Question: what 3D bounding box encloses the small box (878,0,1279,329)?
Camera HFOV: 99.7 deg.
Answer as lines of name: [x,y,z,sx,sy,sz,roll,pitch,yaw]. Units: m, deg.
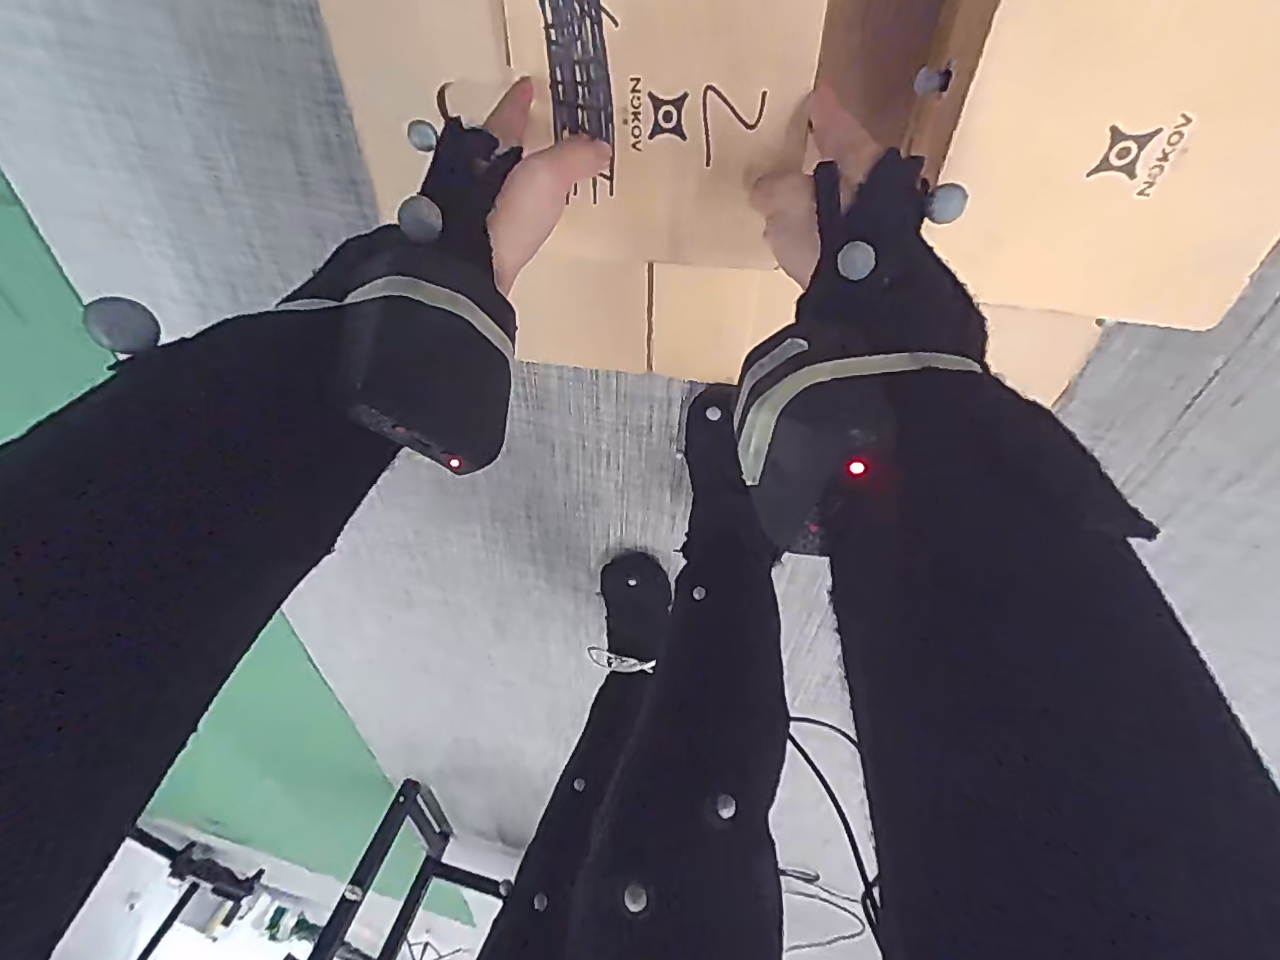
small box: [0.263,-0.213,0.334,0.179,0.176,0.168,10,130,9]
